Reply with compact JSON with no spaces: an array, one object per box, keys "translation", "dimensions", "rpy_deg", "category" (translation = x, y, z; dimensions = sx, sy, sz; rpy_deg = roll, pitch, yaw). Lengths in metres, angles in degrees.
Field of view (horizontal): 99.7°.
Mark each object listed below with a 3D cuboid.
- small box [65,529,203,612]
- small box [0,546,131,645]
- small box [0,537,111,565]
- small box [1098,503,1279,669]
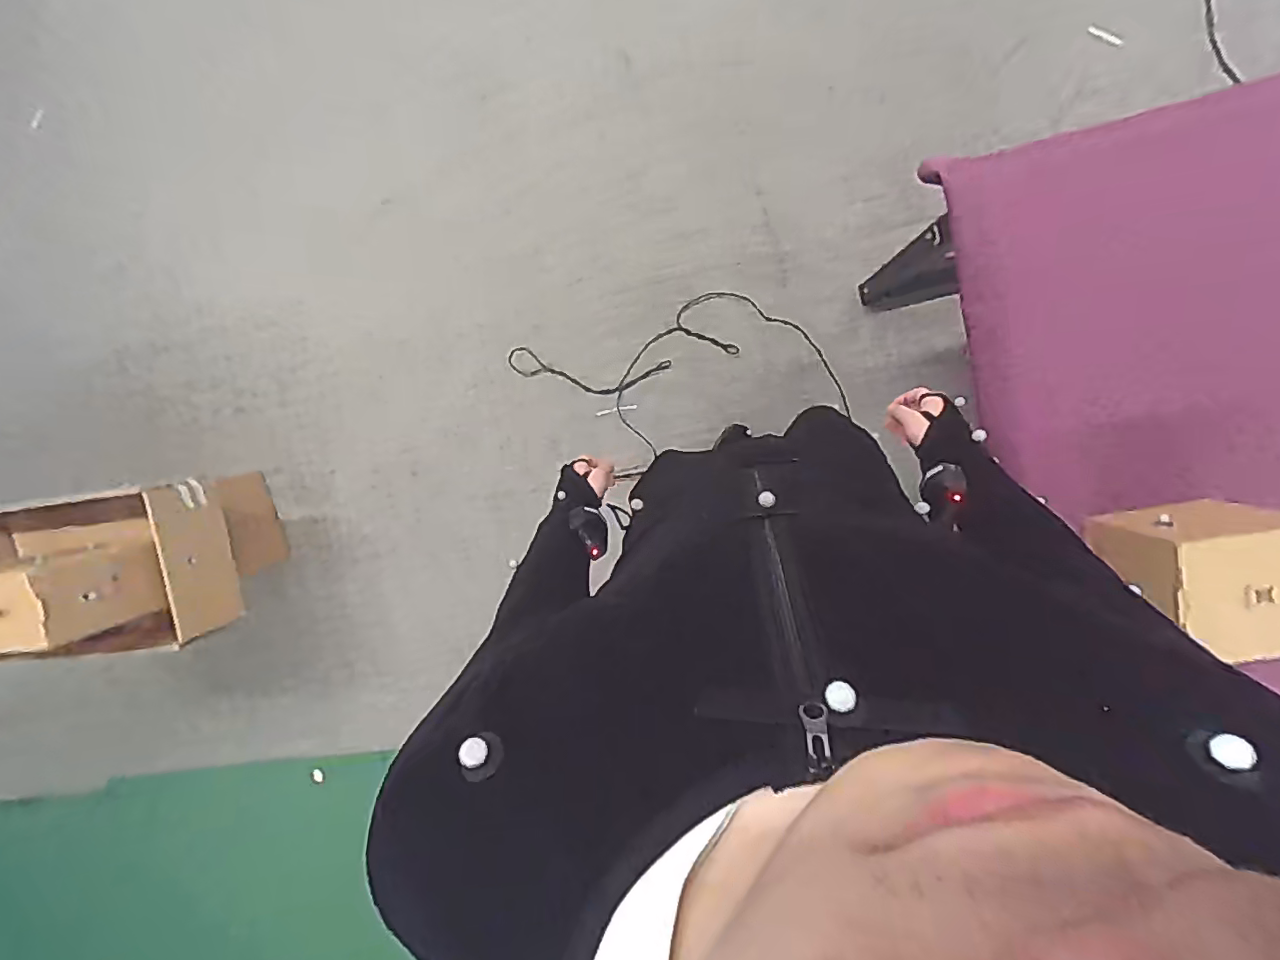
[{"translation":[-1.248,0.225,1.343],"dimensions":[0.179,0.176,0.168],"rpy_deg":[-6,97,10],"category":"small box"},{"translation":[-1.272,0.246,1.184],"dimensions":[0.179,0.176,0.168],"rpy_deg":[-6,96,9],"category":"small box"},{"translation":[-1.496,0.251,1.389],"dimensions":[0.179,0.176,0.168],"rpy_deg":[-8,96,6],"category":"small box"},{"translation":[0.767,0.134,0.734],"dimensions":[0.179,0.176,0.168],"rpy_deg":[-9,97,8],"category":"small box"}]
